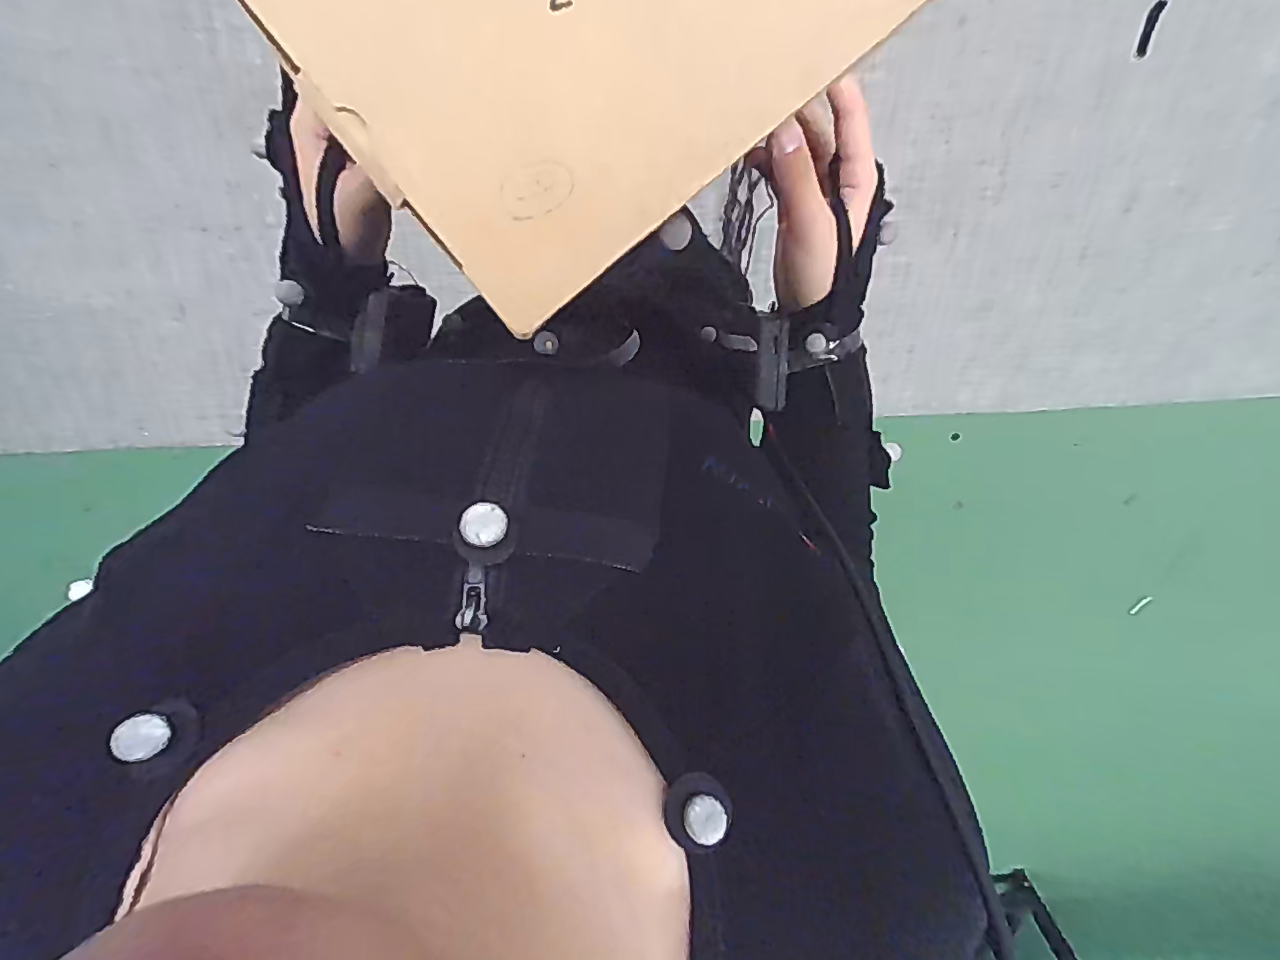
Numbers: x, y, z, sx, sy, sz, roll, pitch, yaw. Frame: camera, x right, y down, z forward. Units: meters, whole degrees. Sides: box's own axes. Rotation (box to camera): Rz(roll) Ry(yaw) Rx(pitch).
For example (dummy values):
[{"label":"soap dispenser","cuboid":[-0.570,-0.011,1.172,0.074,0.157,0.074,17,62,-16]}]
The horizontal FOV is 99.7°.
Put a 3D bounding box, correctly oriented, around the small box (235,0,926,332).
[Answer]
[{"label":"small box","cuboid":[-0.024,-0.191,0.230,0.179,0.176,0.168,-34,109,16]}]
